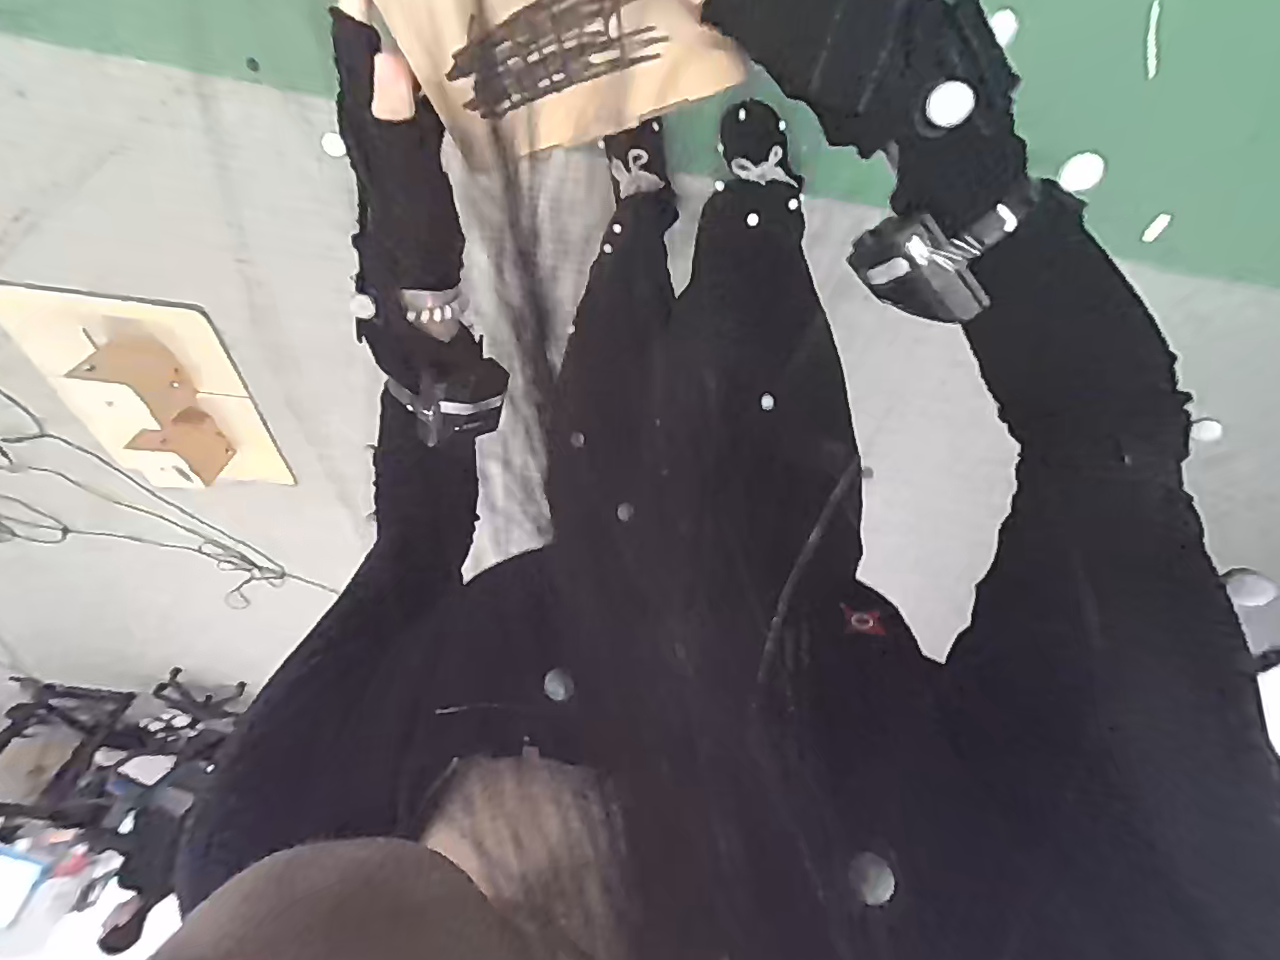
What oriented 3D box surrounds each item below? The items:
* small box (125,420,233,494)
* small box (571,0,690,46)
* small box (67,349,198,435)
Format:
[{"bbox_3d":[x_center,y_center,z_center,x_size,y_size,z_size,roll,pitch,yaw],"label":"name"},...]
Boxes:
[{"bbox_3d":[-1.439,-0.075,1.709,0.179,0.176,0.168,4,136,2],"label":"small box"},{"bbox_3d":[0.004,-0.816,0.844,0.179,0.176,0.168,14,135,-9],"label":"small box"},{"bbox_3d":[-1.423,-0.252,1.531,0.179,0.176,0.168,7,137,-2],"label":"small box"}]
